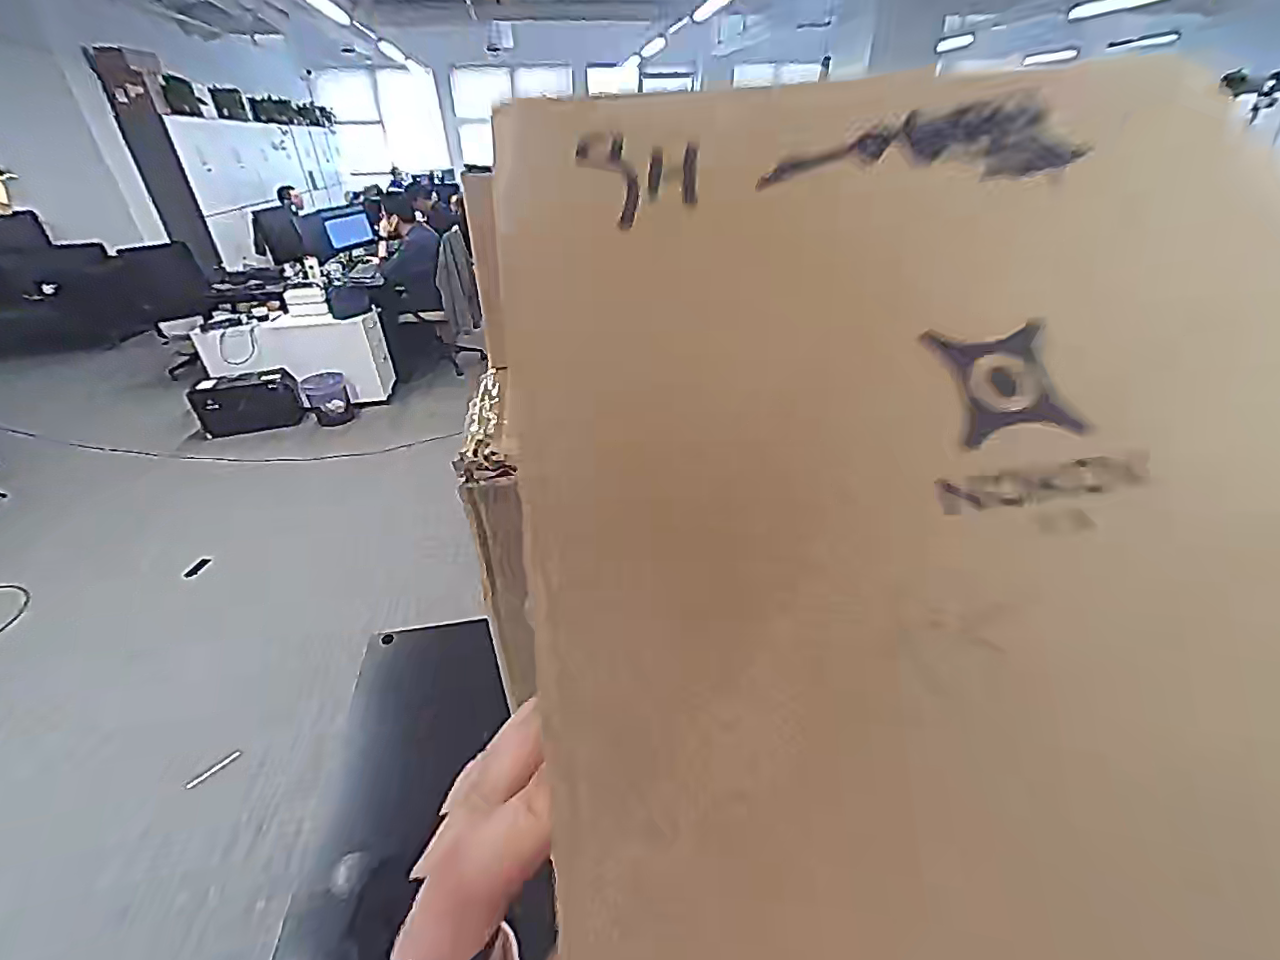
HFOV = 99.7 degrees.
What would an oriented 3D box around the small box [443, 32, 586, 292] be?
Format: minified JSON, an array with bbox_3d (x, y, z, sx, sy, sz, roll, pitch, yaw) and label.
[{"bbox_3d":[-0.056,-0.266,0.473,0.179,0.176,0.168,-5,31,-8],"label":"small box"}]
